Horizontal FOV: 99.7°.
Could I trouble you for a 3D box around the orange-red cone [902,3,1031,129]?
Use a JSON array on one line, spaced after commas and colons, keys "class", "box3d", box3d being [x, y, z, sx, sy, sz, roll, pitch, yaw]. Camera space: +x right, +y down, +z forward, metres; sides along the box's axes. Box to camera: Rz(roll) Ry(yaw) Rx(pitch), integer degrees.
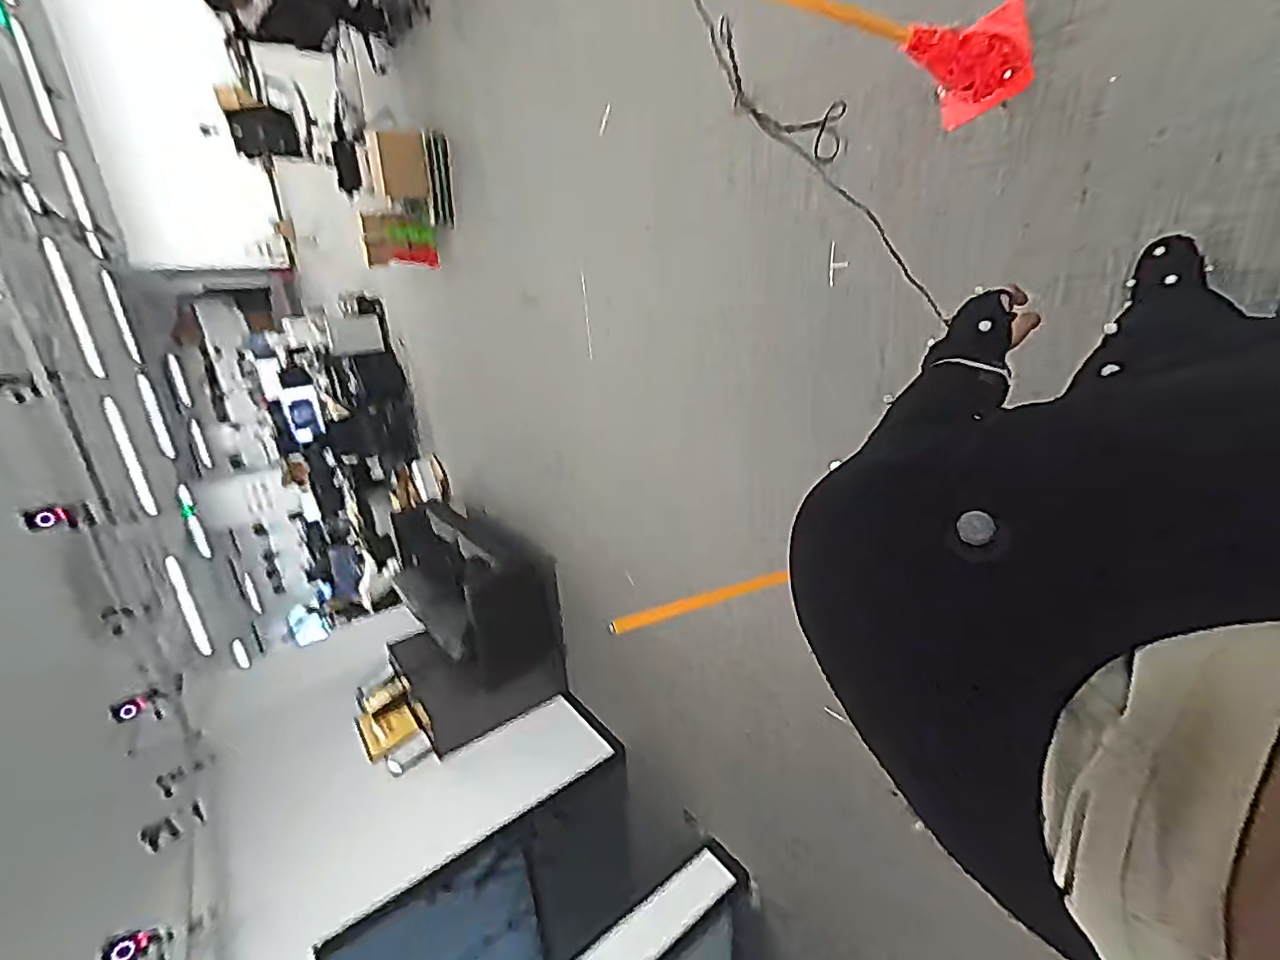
[{"class": "orange-red cone", "box3d": [0.694, -0.957, 1.214, 0.198, 0.360, 0.199, -3, 101, 54]}]
